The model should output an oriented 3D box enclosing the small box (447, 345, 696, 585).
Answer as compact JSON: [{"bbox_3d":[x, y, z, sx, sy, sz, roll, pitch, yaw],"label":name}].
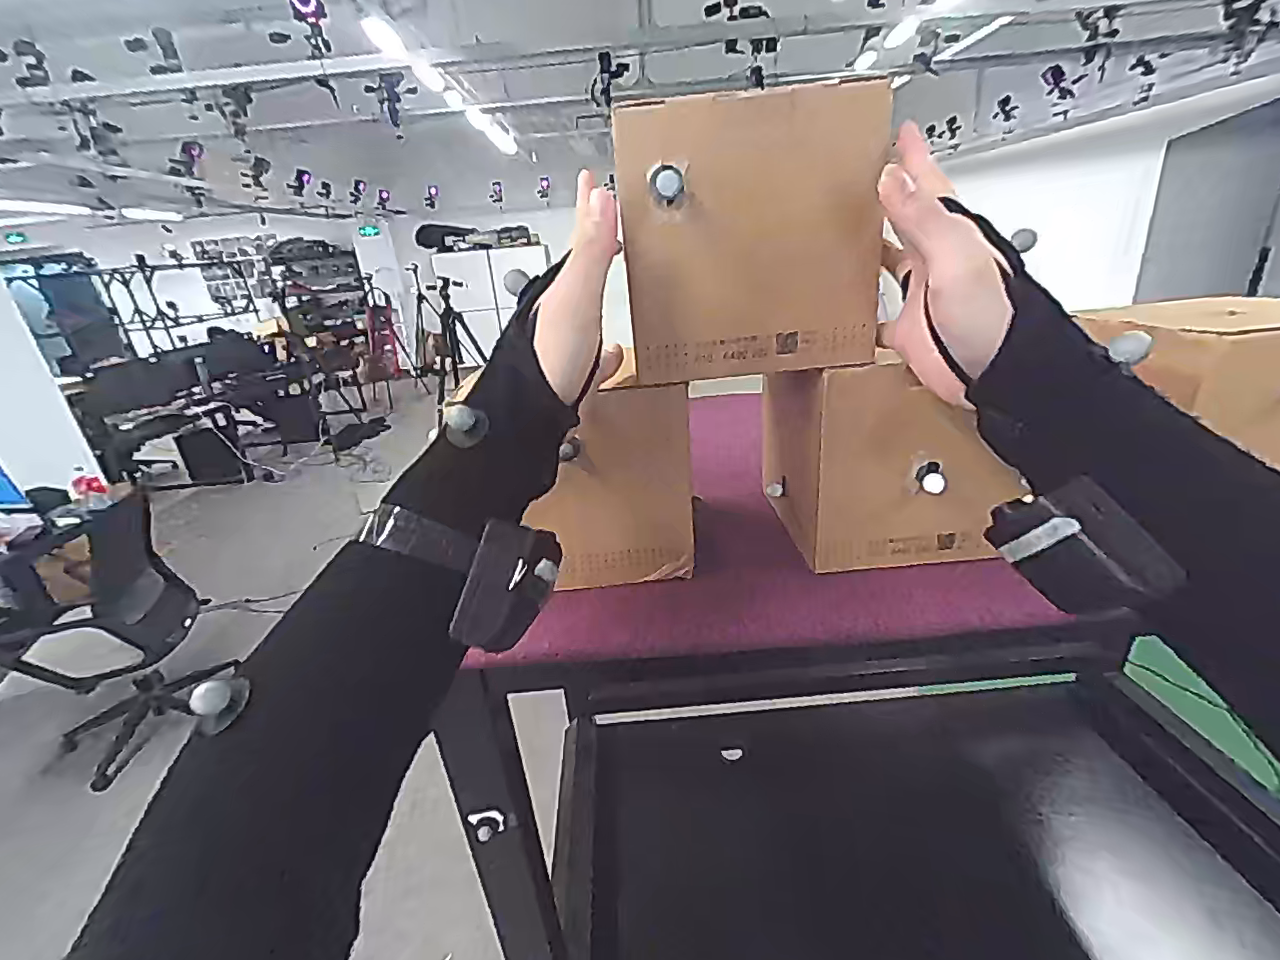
[{"bbox_3d":[-0.049,-0.019,0.486,0.179,0.176,0.168,-5,22,-1],"label":"small box"}]

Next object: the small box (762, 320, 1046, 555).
[{"bbox_3d":[0.211,-0.042,0.487,0.168,0.176,0.179,-4,22,0],"label":"small box"}]

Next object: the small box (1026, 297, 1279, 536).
[{"bbox_3d":[0.493,-0.064,0.486,0.179,0.176,0.168,-6,21,1],"label":"small box"}]
